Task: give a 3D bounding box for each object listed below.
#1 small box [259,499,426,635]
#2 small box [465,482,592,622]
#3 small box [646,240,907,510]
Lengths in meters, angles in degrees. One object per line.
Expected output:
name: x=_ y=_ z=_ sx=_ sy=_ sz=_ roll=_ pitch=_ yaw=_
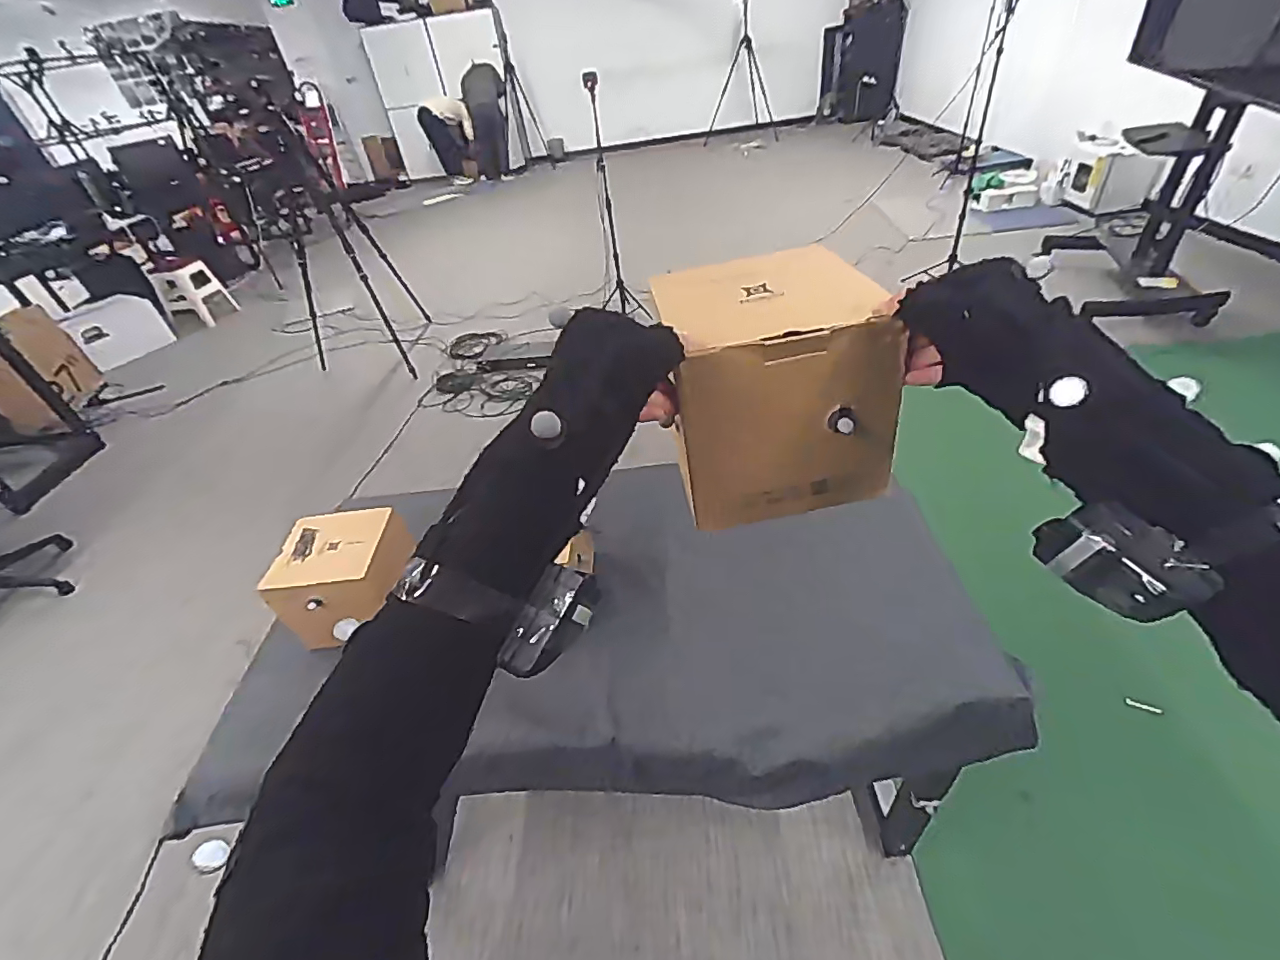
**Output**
small box: x=-0.508 y=0.157 z=0.955 sx=0.179 sy=0.176 sz=0.168 roll=-6 pitch=41 yaw=1
small box: x=-0.179 y=0.129 z=0.931 sx=0.168 sy=0.176 sz=0.179 roll=-6 pitch=41 yaw=4
small box: x=0.106 y=-0.089 z=0.476 sx=0.168 sy=0.176 sz=0.179 roll=-11 pitch=37 yaw=0
